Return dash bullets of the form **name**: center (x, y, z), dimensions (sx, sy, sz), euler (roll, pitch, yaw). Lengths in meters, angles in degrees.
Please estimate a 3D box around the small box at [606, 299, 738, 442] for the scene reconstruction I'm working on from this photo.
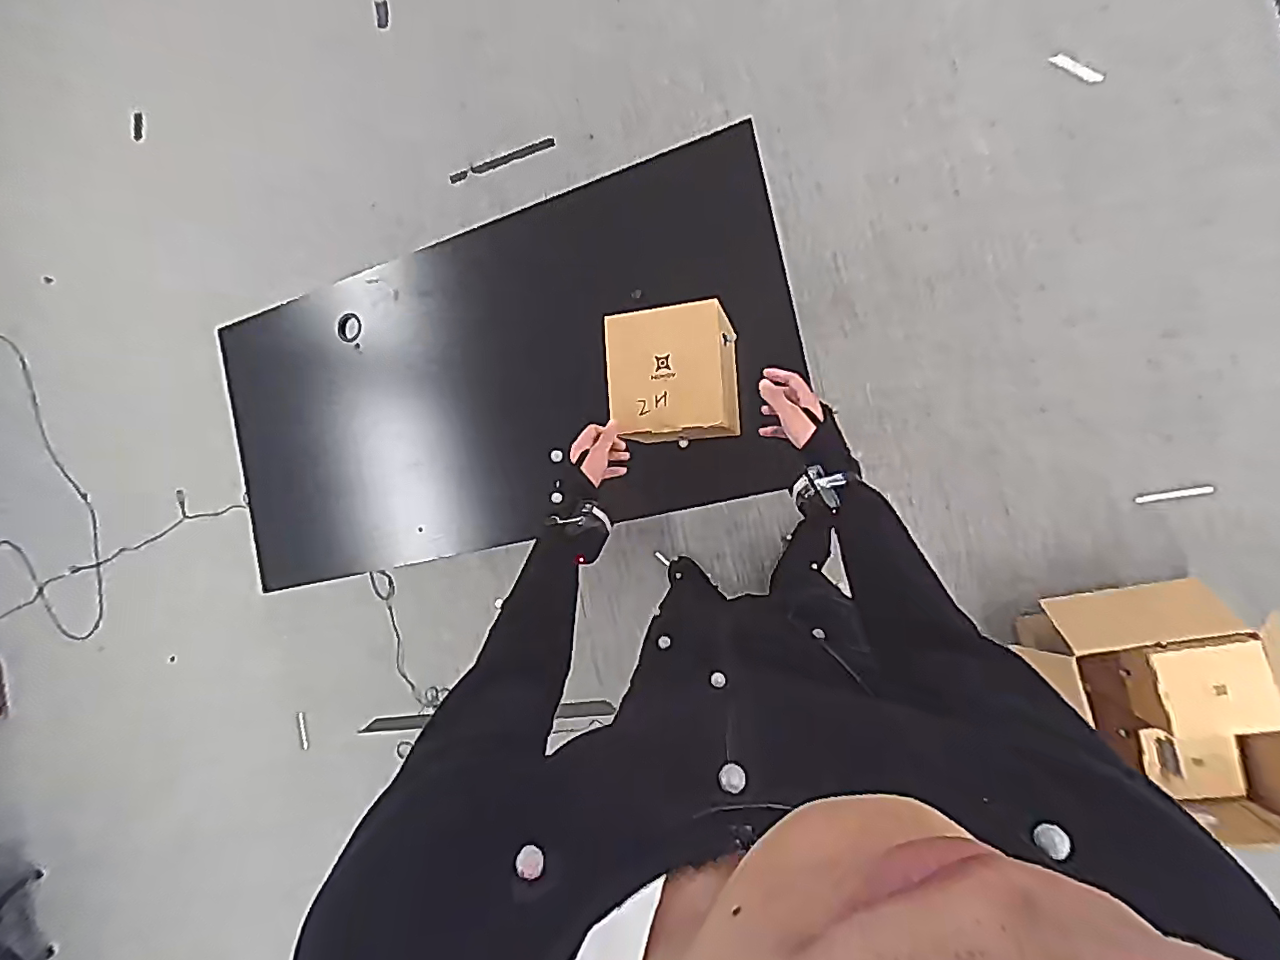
- **small box**: center (0.055, -0.154, 0.824), dimensions (0.168, 0.176, 0.179), euler (-3, 90, 18)
